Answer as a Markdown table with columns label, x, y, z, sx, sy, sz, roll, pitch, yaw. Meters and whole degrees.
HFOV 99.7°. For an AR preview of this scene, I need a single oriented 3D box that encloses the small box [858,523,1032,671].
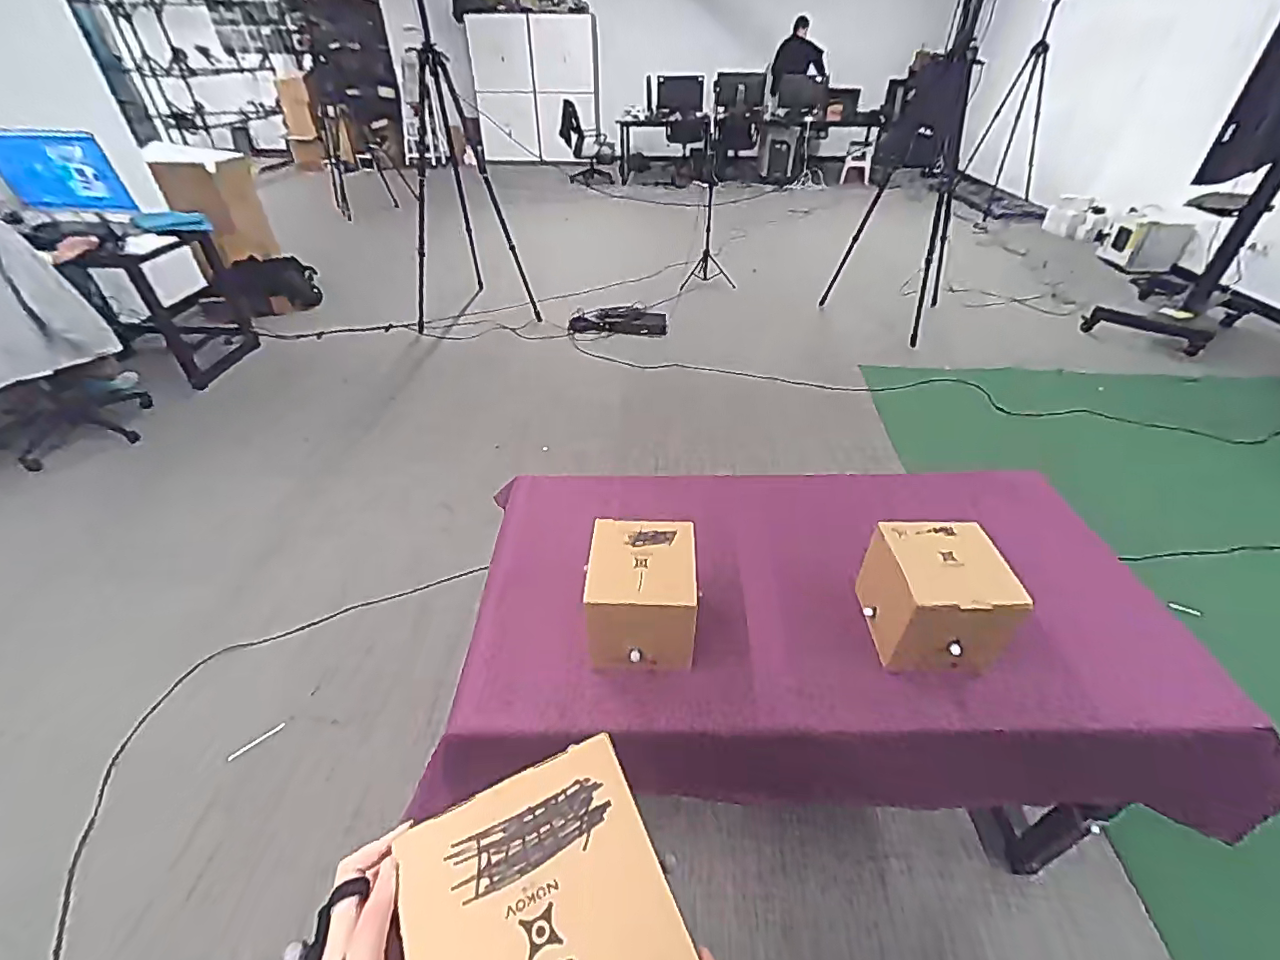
| label | x | y | z | sx | sy | sz | roll | pitch | yaw |
| --- | --- | --- | --- | --- | --- | --- | --- | --- | --- |
| small box | 0.474 | 0.190 | 0.874 | 0.168 | 0.176 | 0.179 | 1 | 40 | 1 |

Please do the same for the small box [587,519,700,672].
| label | x | y | z | sx | sy | sz | roll | pitch | yaw |
| --- | --- | --- | --- | --- | --- | --- | --- | --- | --- |
| small box | 0.008 | 0.186 | 0.881 | 0.168 | 0.176 | 0.179 | 2 | 40 | 2 |
